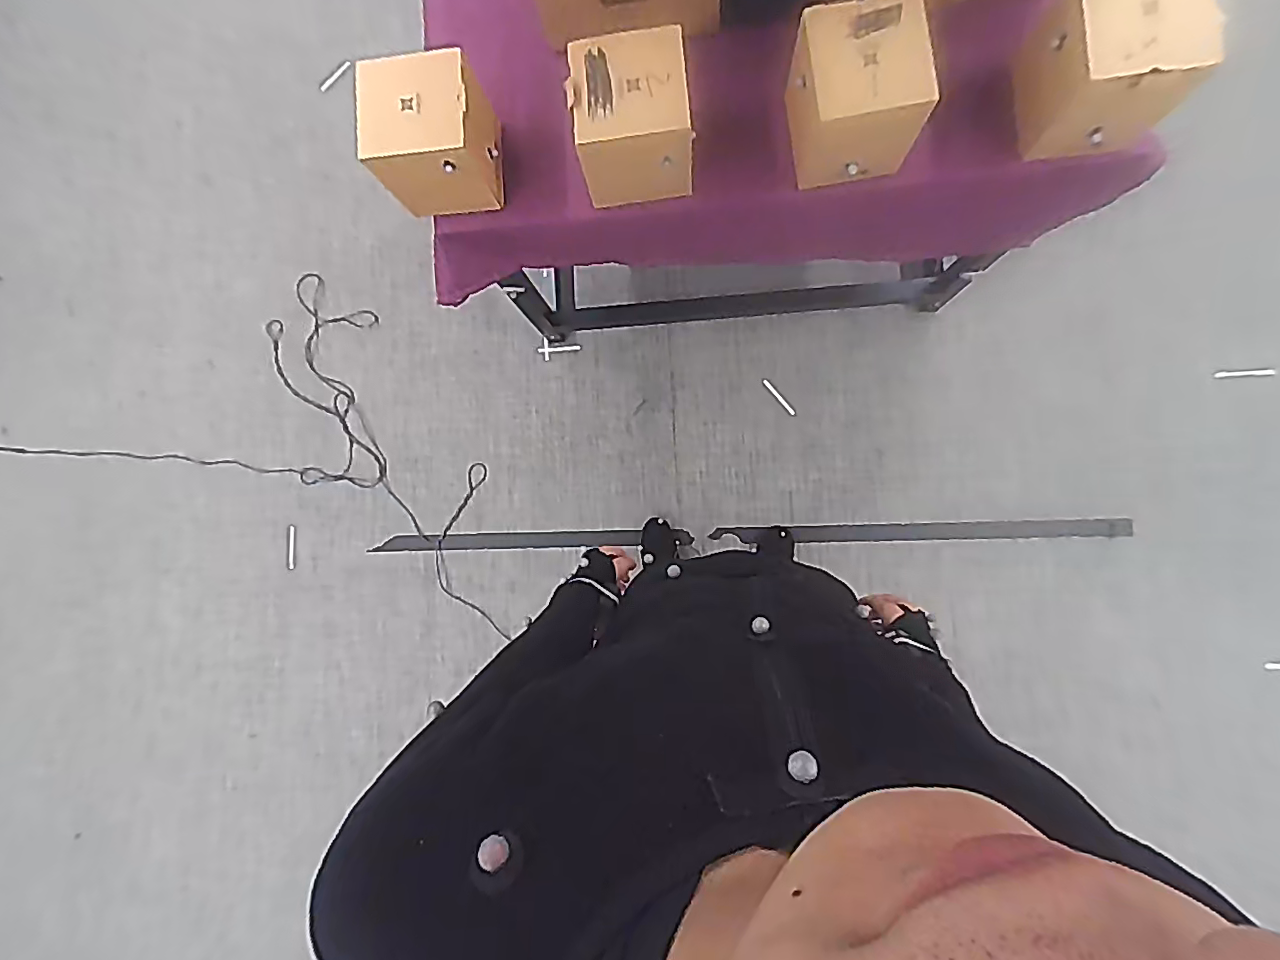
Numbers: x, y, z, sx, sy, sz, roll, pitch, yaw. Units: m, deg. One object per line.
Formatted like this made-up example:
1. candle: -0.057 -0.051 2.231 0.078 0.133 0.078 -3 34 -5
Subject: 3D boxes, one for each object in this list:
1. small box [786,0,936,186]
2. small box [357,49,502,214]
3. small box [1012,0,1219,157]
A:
1. small box: 0.332 -0.601 0.845 0.168 0.176 0.179 -7 87 6
2. small box: -0.348 -0.574 0.915 0.179 0.176 0.168 -4 86 4
3. small box: 0.689 -0.625 0.808 0.168 0.176 0.179 -3 86 7
